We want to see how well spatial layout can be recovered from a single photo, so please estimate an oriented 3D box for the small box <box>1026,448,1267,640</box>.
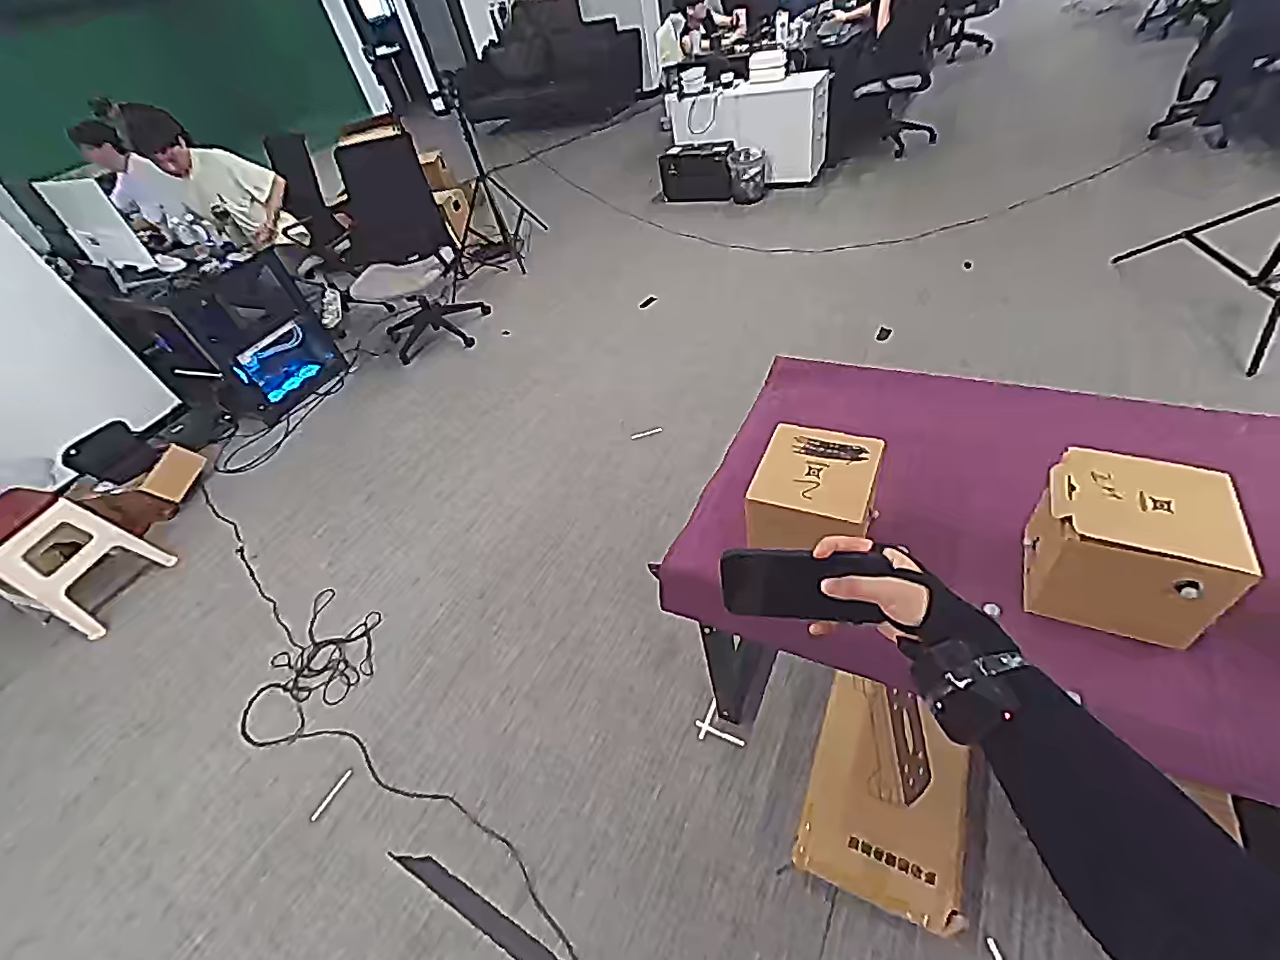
[{"bbox_3d":[0.642,0.086,0.715,0.179,0.176,0.168,12,49,25],"label":"small box"}]
